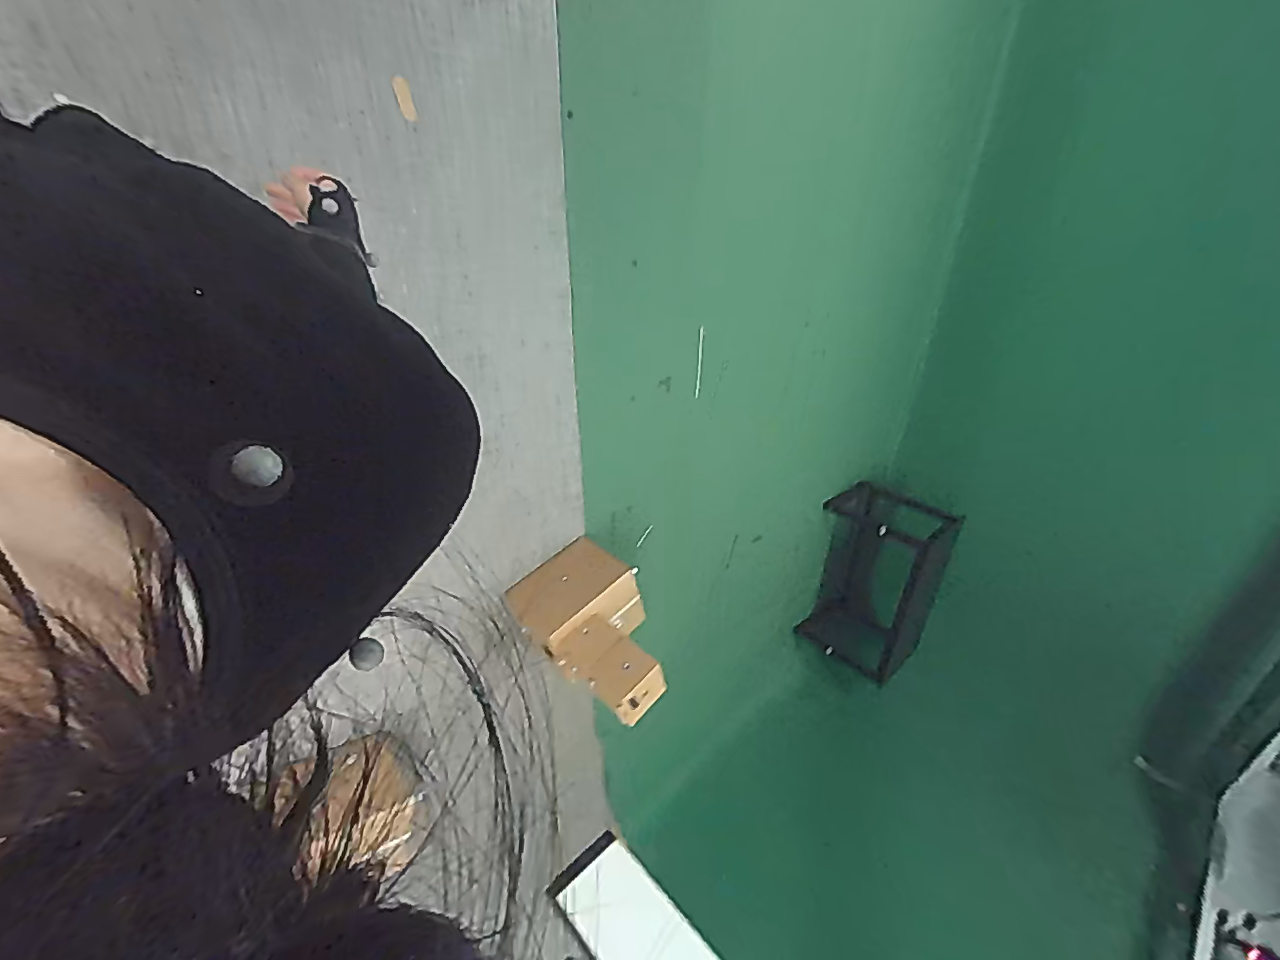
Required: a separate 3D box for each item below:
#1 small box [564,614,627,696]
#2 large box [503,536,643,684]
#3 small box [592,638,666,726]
[{"bbox_3d":[-0.153,0.616,1.921,0.179,0.176,0.168,-33,132,-30],"label":"small box"},{"bbox_3d":[-0.256,0.498,2.128,0.408,0.320,0.320,-37,135,-28],"label":"large box"},{"bbox_3d":[-0.042,0.673,1.814,0.179,0.176,0.168,-37,134,-28],"label":"small box"}]
